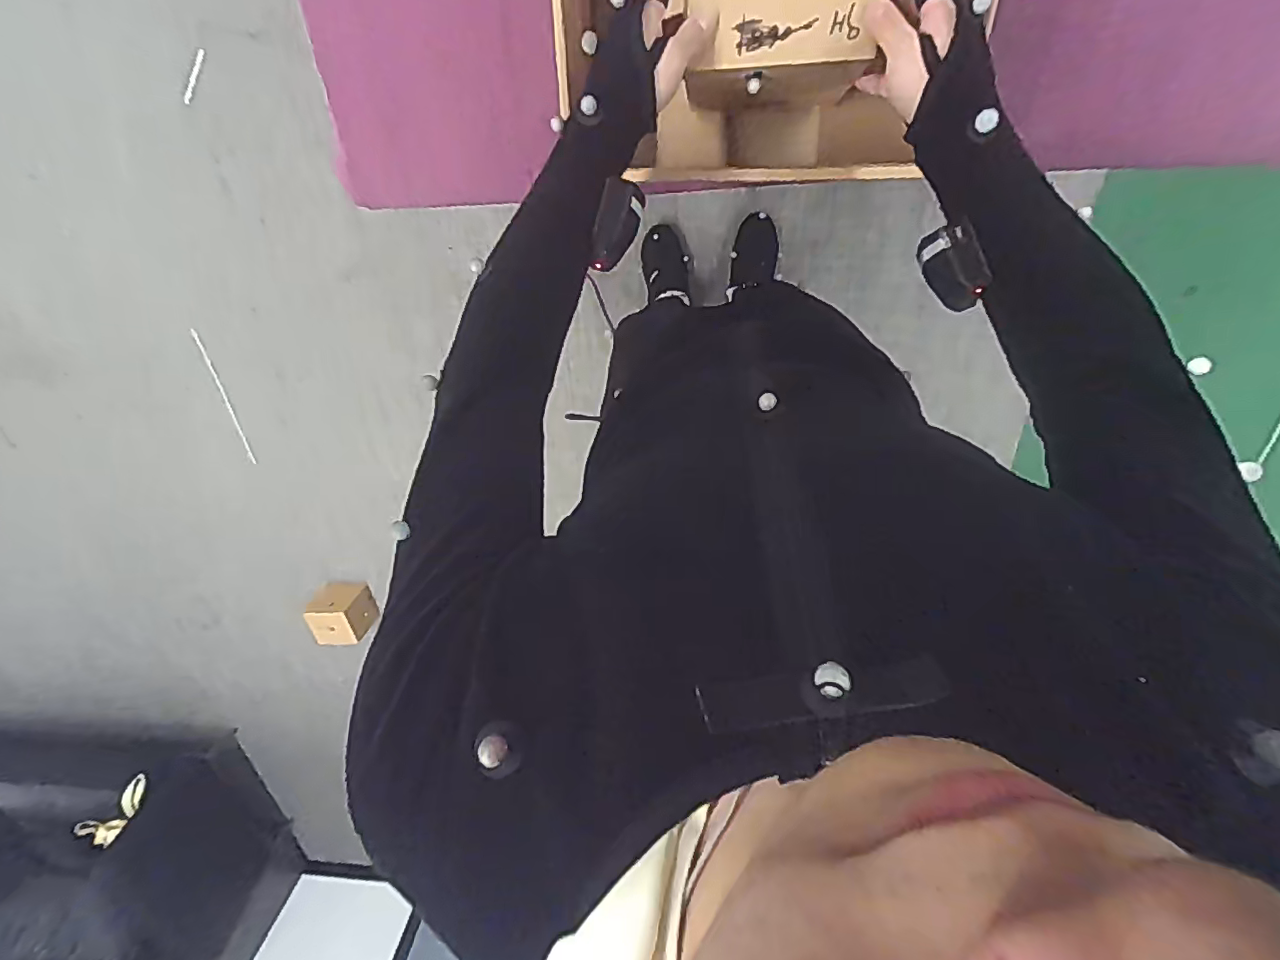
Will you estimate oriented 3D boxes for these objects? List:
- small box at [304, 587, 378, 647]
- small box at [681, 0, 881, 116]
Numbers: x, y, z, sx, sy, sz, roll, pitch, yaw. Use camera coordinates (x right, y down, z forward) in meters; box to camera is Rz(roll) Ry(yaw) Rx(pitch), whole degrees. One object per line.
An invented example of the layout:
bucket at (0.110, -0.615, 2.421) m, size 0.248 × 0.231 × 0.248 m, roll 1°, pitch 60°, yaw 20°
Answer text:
small box at (-1.164, 0.537, 2.128) m, size 0.179 × 0.176 × 0.168 m, roll -2°, pitch 118°, yaw 9°
small box at (0.128, -0.468, 0.509) m, size 0.168 × 0.176 × 0.179 m, roll 3°, pitch 113°, yaw 8°
